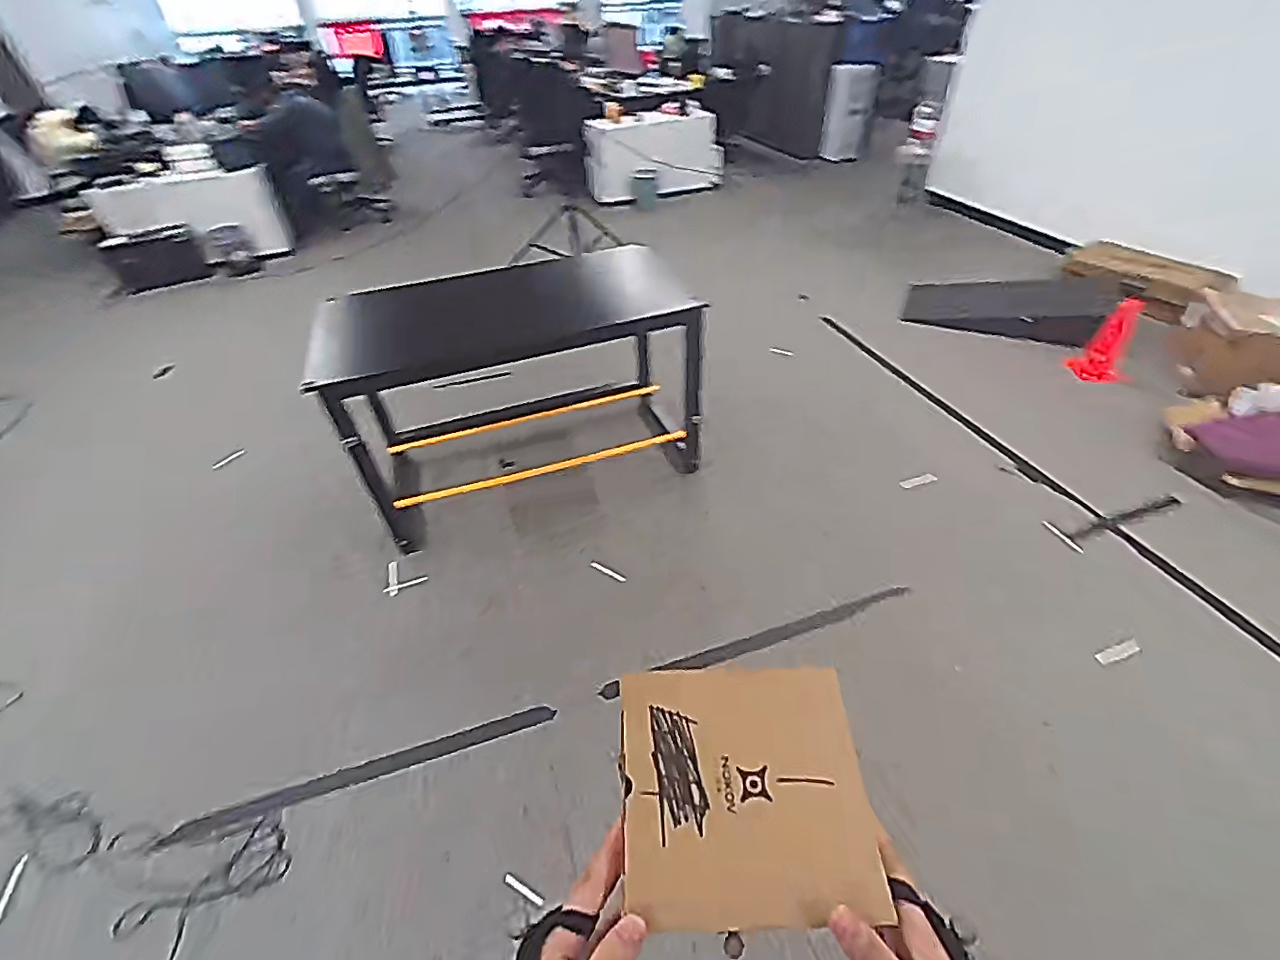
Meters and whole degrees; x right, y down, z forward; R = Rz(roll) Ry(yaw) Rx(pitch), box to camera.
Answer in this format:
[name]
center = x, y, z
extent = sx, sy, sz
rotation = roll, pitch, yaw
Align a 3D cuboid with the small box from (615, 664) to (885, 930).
[small box]
center = 0.070, 0.269, 0.455
extent = 0.179, 0.176, 0.168
rotation = -1, 50, -2
